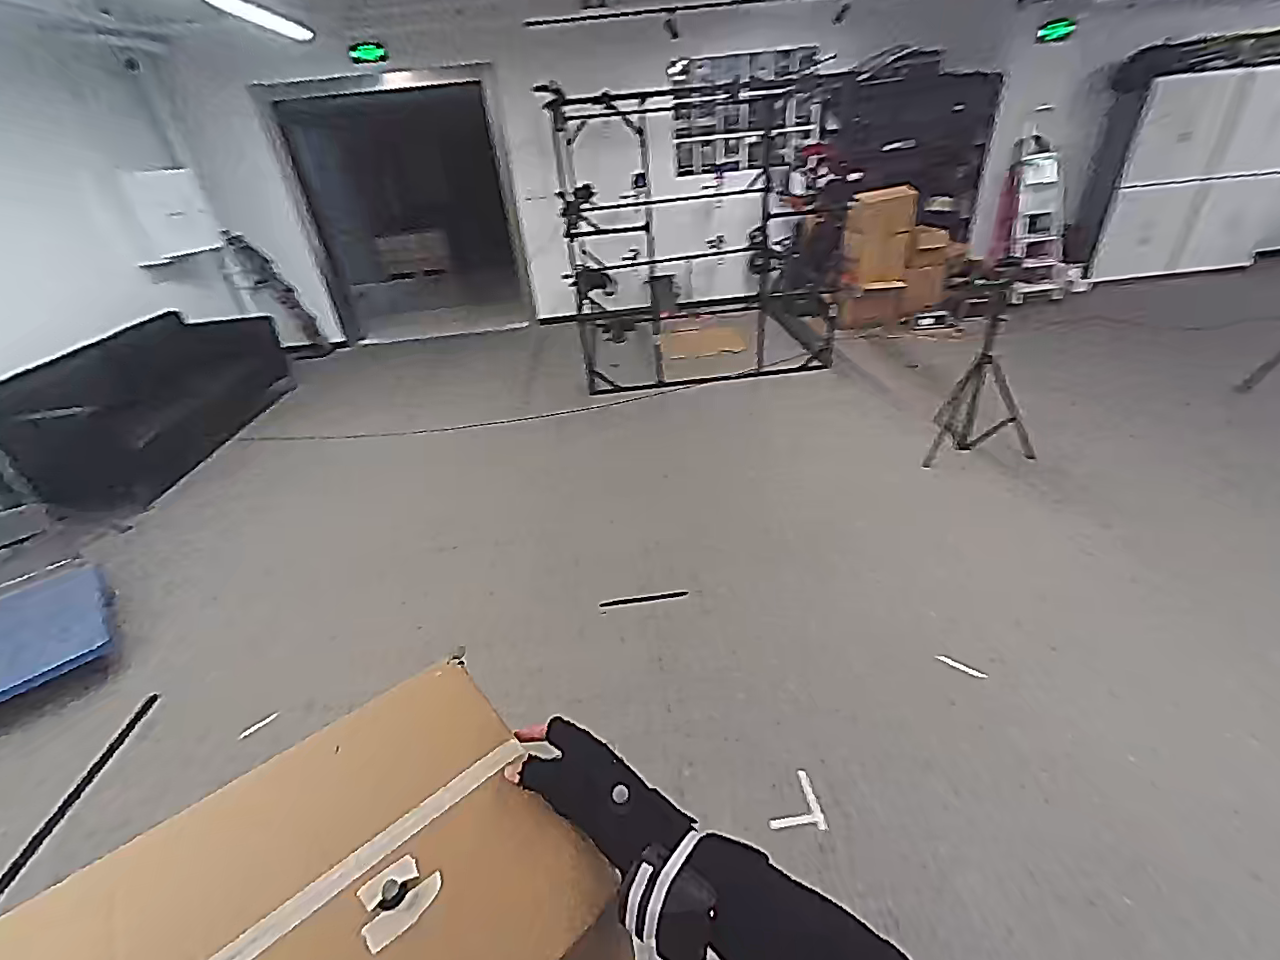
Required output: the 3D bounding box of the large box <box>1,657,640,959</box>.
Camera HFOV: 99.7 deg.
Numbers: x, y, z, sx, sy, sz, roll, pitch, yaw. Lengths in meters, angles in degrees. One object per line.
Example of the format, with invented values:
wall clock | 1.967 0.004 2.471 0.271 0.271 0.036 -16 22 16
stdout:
large box | -0.246 0.463 0.506 0.408 0.320 0.320 -25 38 -32
